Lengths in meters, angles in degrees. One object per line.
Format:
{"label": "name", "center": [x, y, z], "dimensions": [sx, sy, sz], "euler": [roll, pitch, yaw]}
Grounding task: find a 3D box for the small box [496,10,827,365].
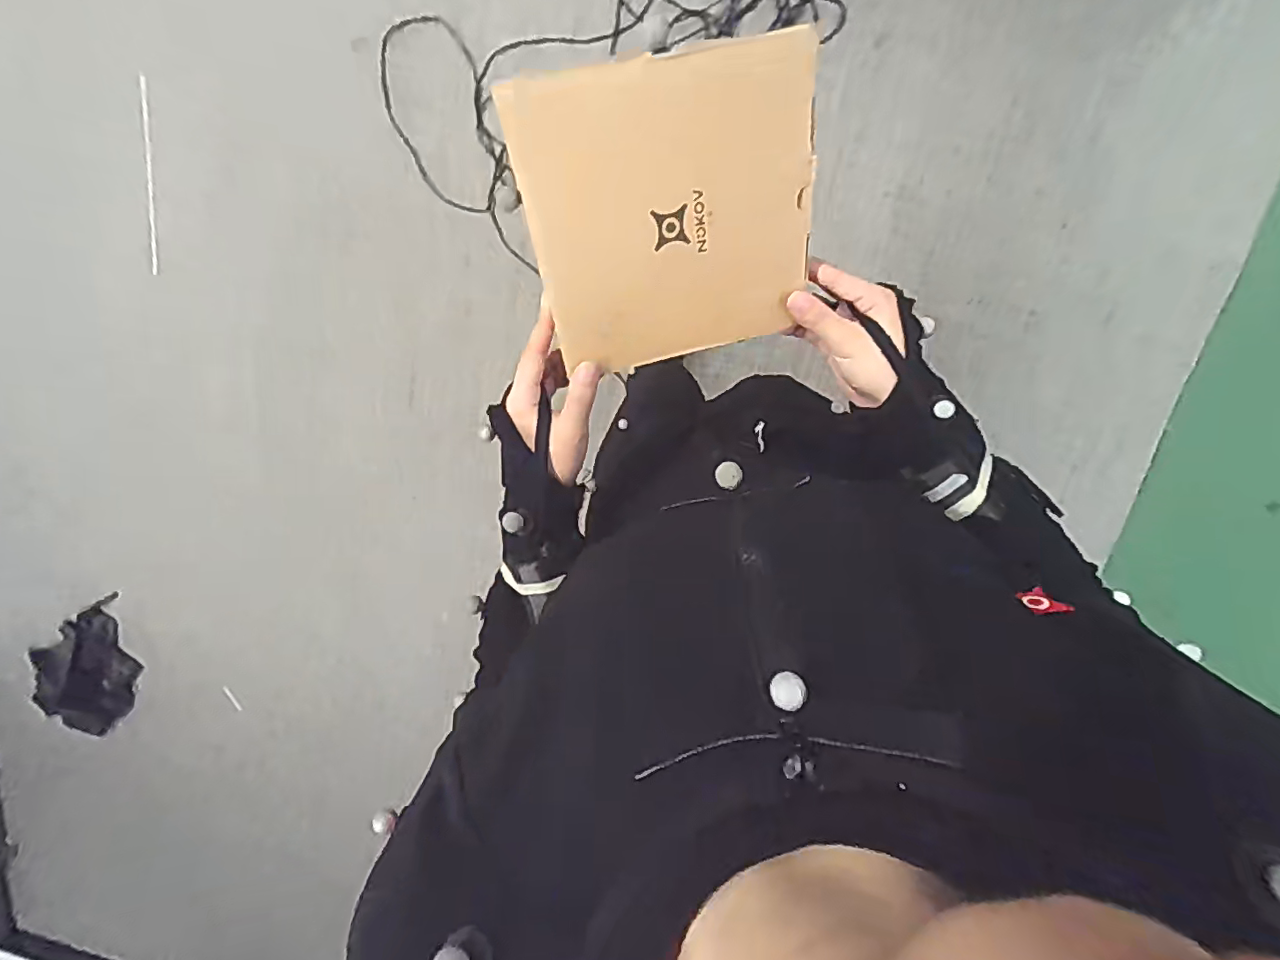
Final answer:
{"label": "small box", "center": [0.007, -0.205, 0.382], "dimensions": [0.179, 0.176, 0.168], "euler": [-15, 129, -6]}
